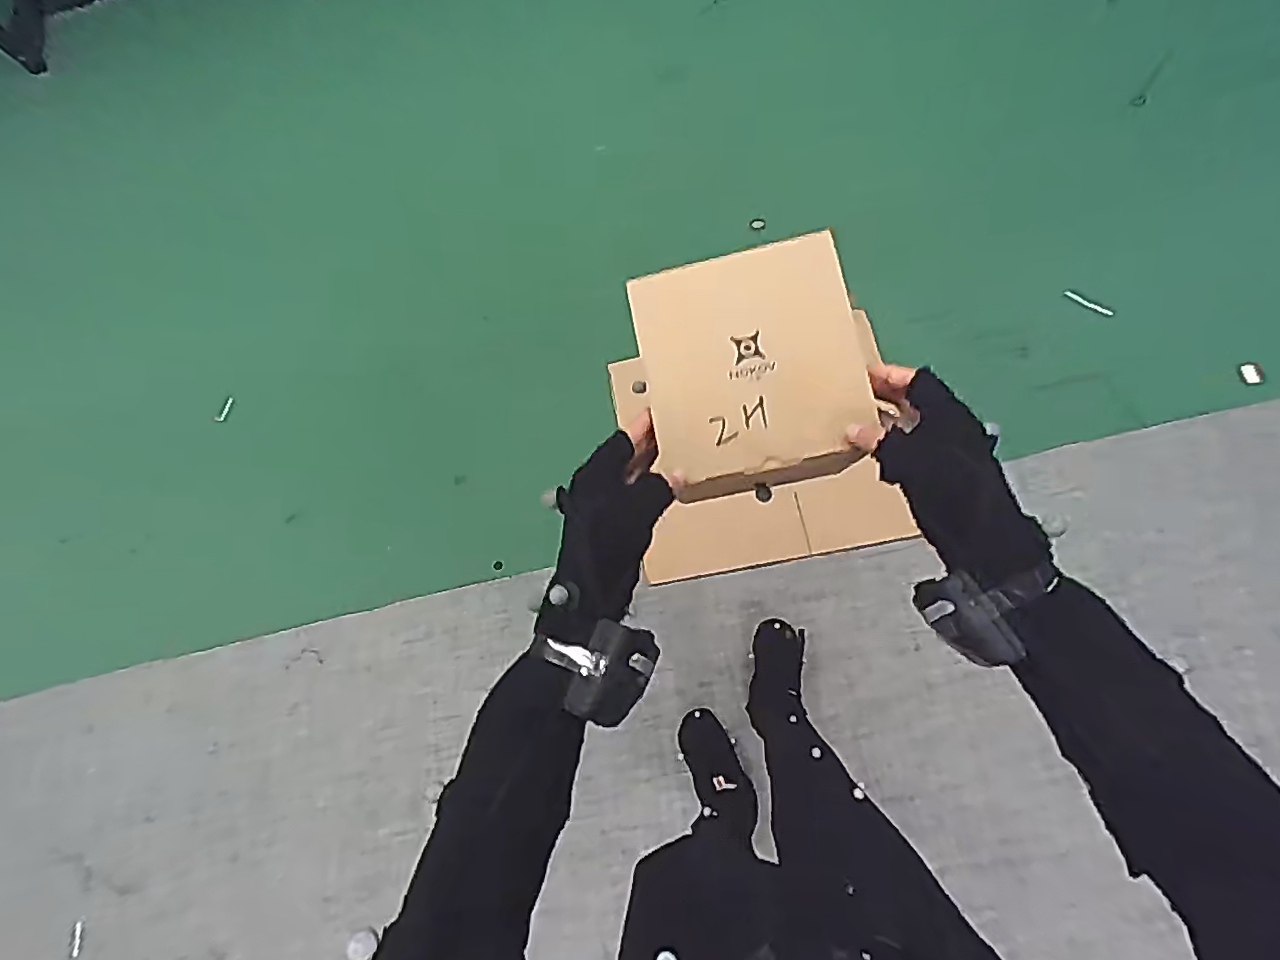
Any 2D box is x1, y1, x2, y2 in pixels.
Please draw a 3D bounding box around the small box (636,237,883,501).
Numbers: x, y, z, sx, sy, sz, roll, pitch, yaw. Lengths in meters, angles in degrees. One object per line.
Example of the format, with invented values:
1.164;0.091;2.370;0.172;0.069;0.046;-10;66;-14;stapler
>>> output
0.099;-0.084;0.500;0.168;0.176;0.179;-12;82;8;small box
